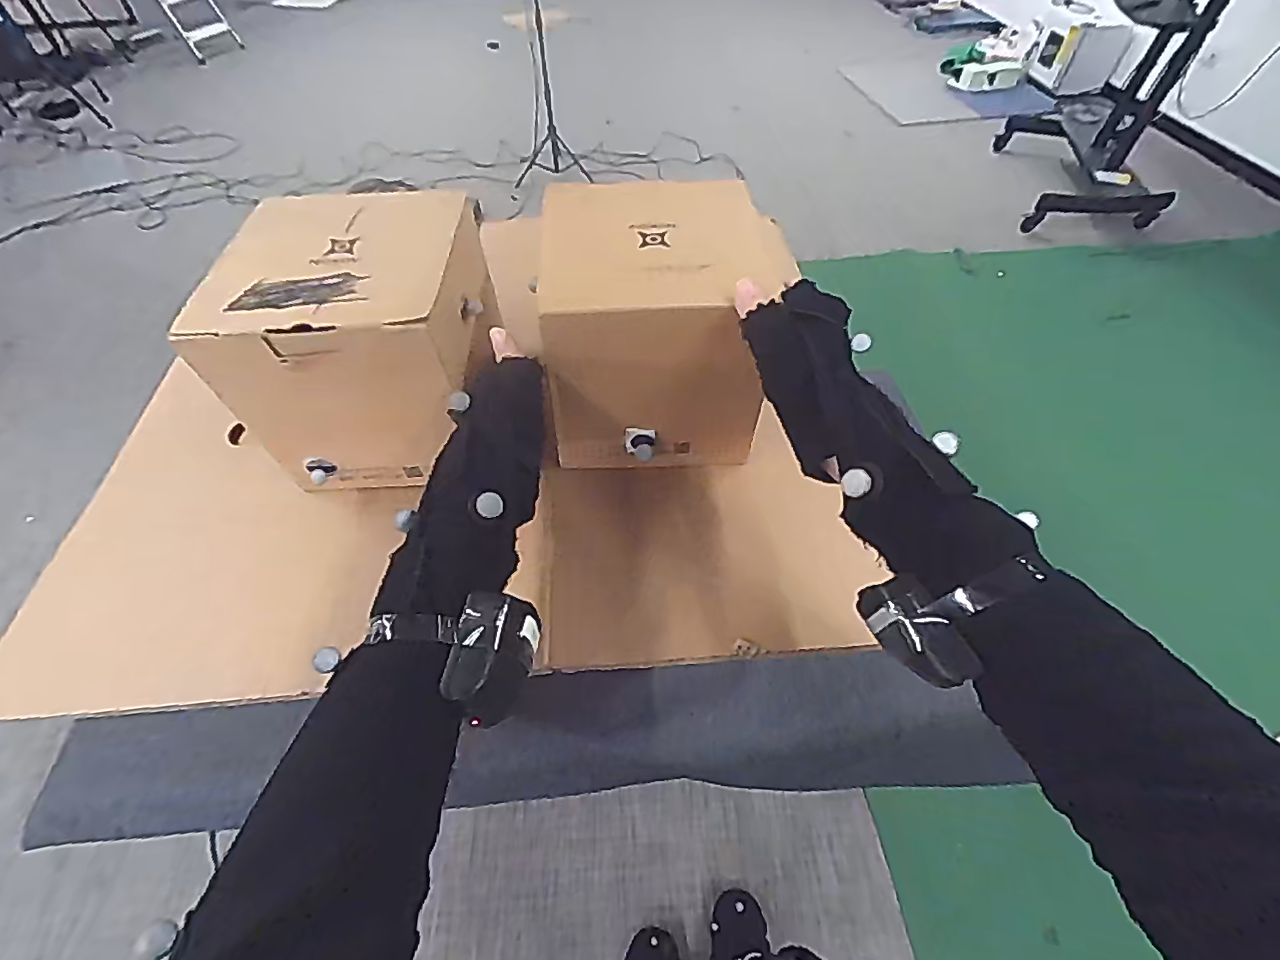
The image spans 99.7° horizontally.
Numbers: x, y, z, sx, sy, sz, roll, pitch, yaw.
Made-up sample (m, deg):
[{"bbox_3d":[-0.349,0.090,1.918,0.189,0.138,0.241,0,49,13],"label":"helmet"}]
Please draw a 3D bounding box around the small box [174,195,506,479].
[{"bbox_3d":[-0.218,-0.112,0.457,0.168,0.176,0.179,-3,53,-1],"label":"small box"}]
